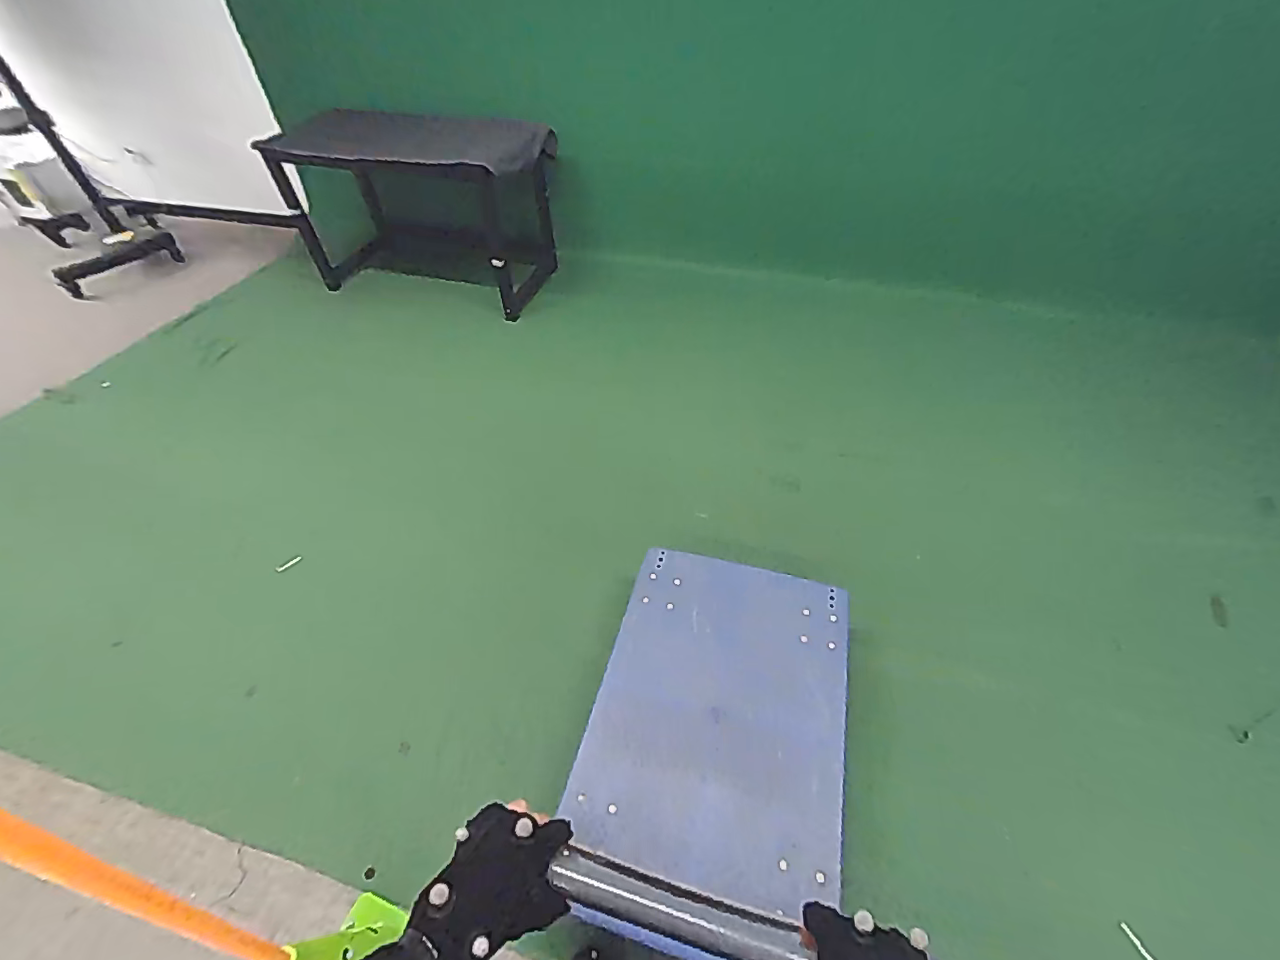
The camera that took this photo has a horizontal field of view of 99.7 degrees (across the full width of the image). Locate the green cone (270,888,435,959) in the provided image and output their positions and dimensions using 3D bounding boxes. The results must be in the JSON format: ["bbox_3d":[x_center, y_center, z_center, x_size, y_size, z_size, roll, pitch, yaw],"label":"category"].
[{"bbox_3d":[-0.557,0.868,0.987,0.202,0.368,0.200,14,48,15],"label":"green cone"}]
